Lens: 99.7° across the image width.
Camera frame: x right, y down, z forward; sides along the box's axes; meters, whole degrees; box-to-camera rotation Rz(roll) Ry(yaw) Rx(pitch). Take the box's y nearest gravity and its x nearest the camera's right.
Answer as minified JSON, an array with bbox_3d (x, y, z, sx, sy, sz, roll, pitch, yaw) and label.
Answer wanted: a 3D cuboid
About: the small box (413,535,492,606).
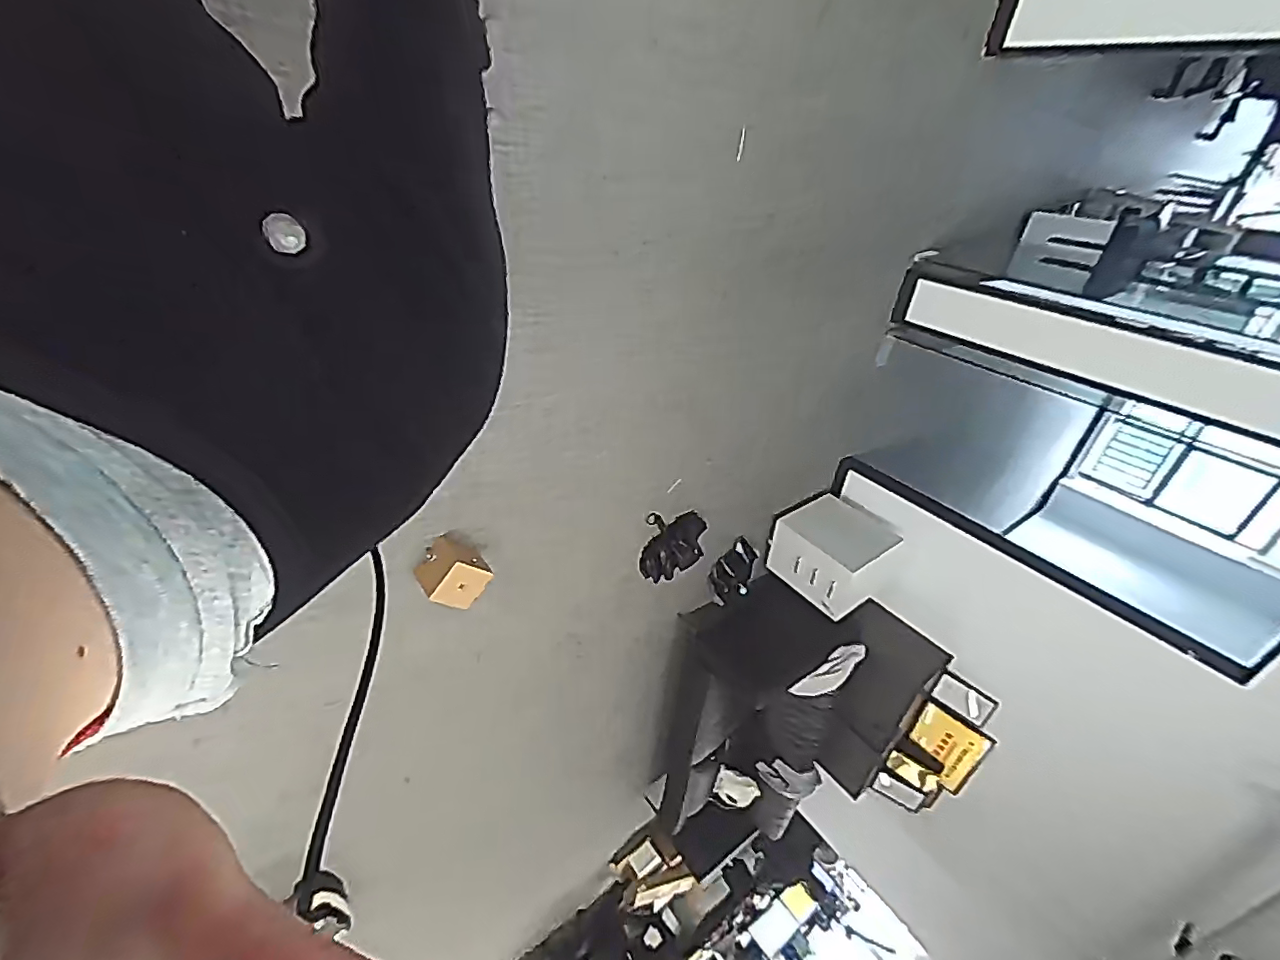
[{"bbox_3d":[-0.672,0.320,1.928,0.168,0.176,0.179,-54,139,1],"label":"small box"}]
